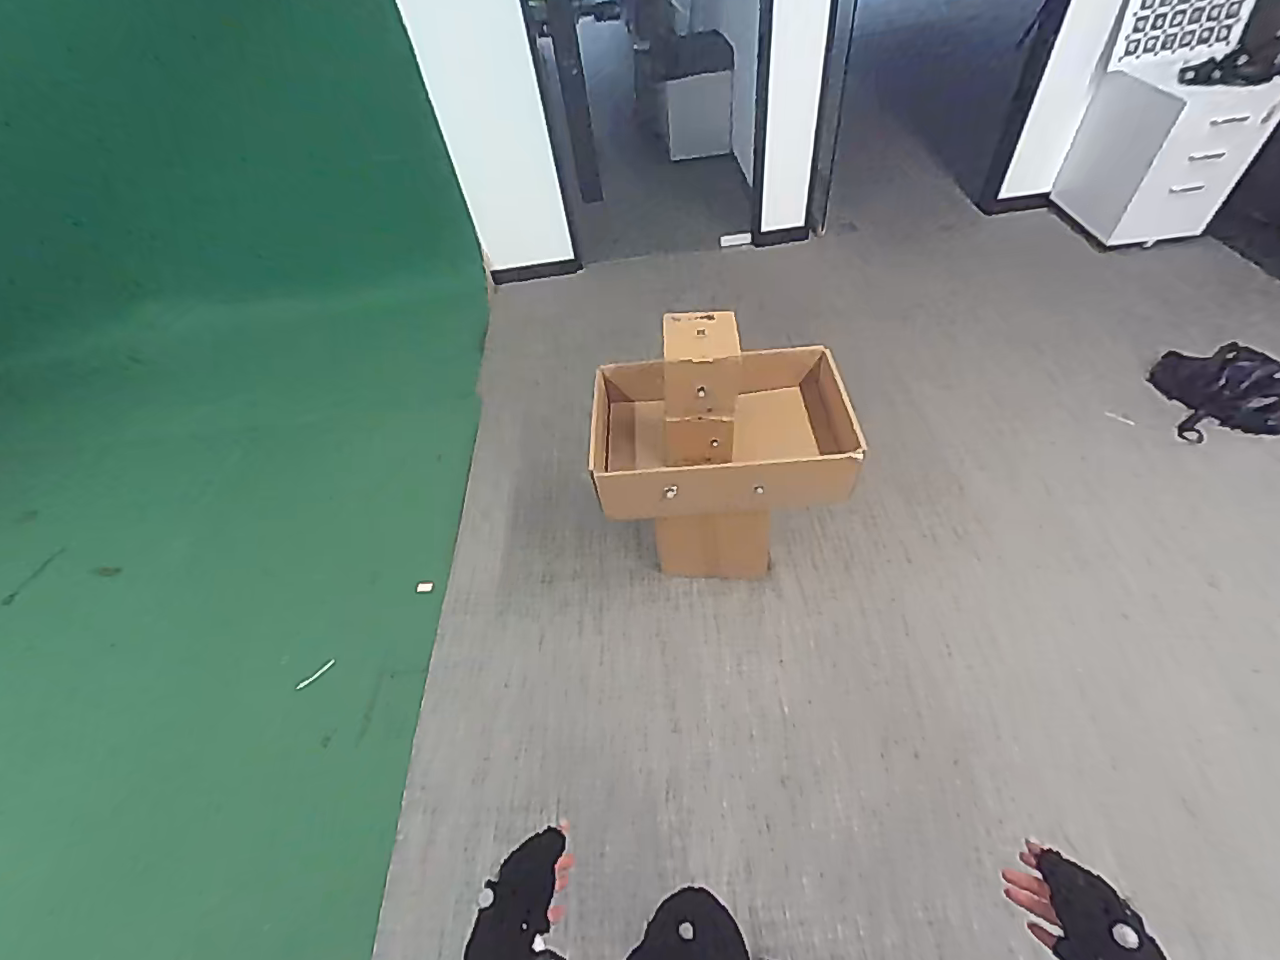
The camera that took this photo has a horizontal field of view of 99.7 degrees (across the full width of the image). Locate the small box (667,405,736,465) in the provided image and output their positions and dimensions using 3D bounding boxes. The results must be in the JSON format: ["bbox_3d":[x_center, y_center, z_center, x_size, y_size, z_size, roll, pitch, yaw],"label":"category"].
[{"bbox_3d":[0.154,-0.152,1.375,0.168,0.176,0.179,0,48,4],"label":"small box"}]

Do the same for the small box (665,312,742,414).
[{"bbox_3d":[0.145,-0.266,1.257,0.168,0.176,0.179,-1,50,4],"label":"small box"}]
